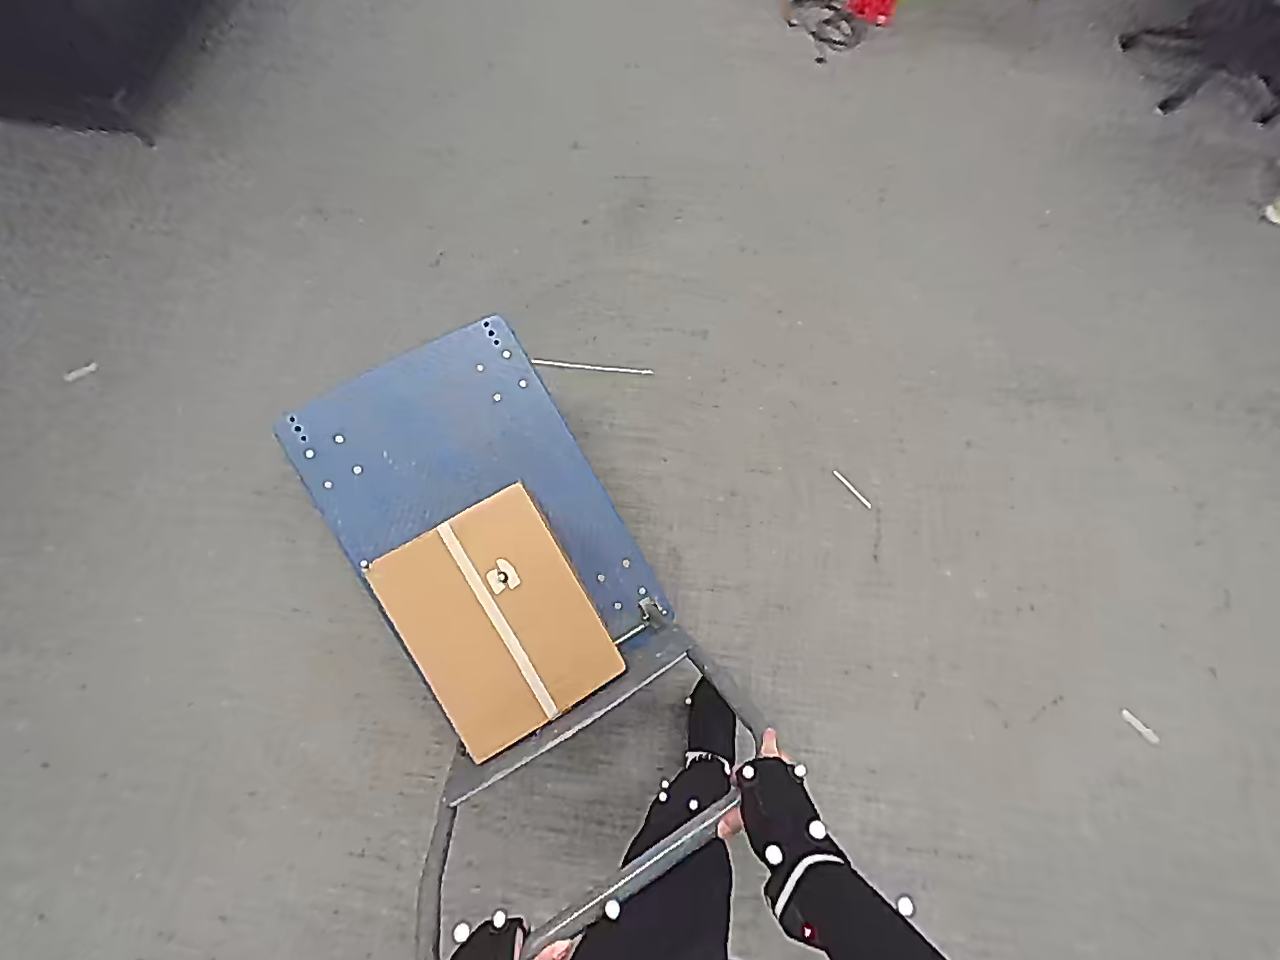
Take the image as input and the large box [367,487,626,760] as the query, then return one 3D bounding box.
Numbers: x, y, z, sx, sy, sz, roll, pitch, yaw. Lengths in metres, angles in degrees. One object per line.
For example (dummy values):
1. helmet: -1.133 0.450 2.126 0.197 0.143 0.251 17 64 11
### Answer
1. large box: -0.274 0.266 1.123 0.320 0.320 0.408 -30 91 -11
